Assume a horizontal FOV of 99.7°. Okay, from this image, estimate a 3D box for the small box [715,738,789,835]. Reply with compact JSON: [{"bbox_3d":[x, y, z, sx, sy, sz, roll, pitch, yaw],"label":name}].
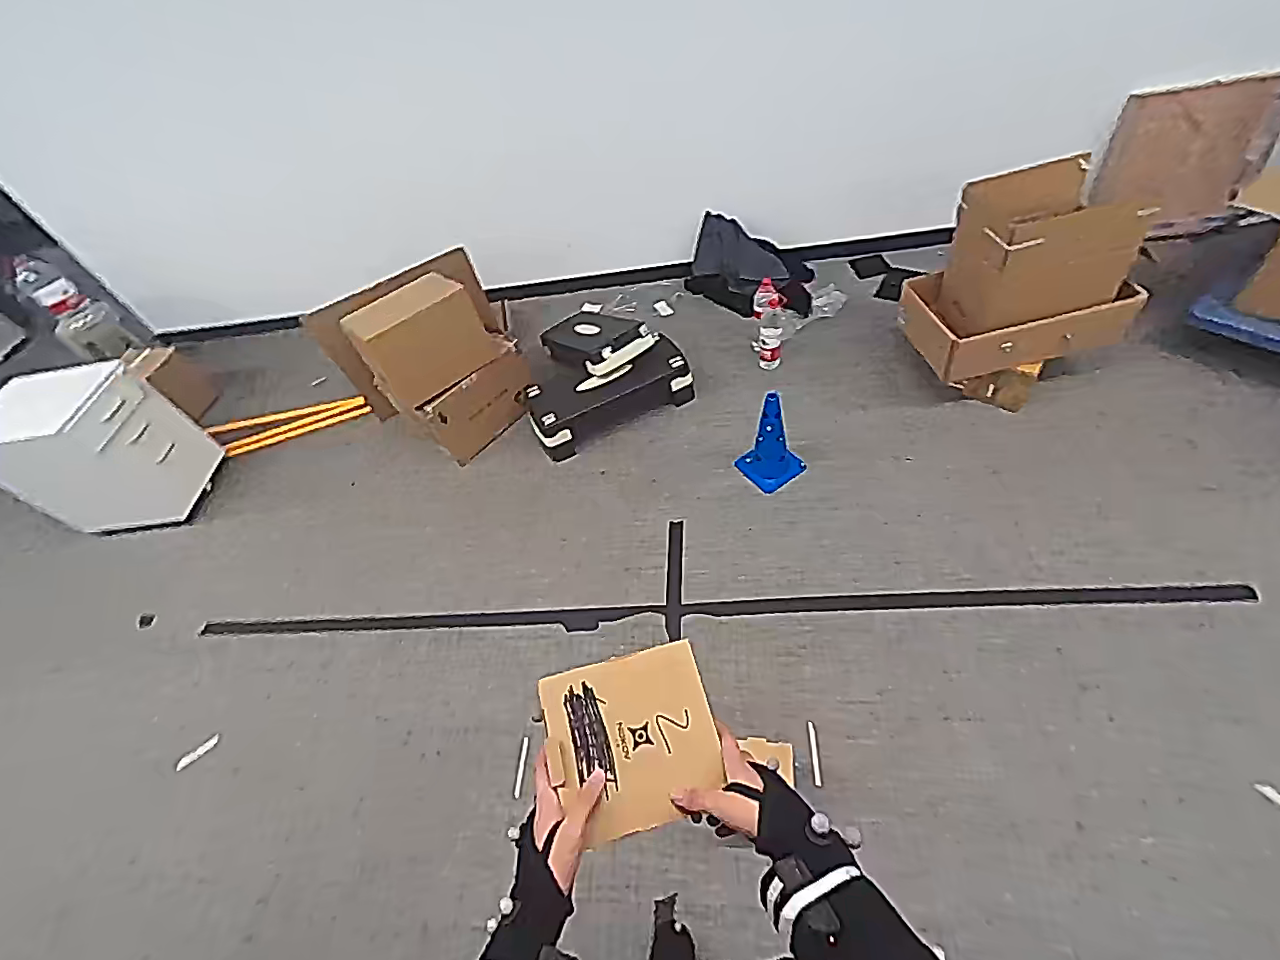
[{"bbox_3d":[0.276,0.754,1.323,0.168,0.176,0.179,0,52,12],"label":"small box"}]
